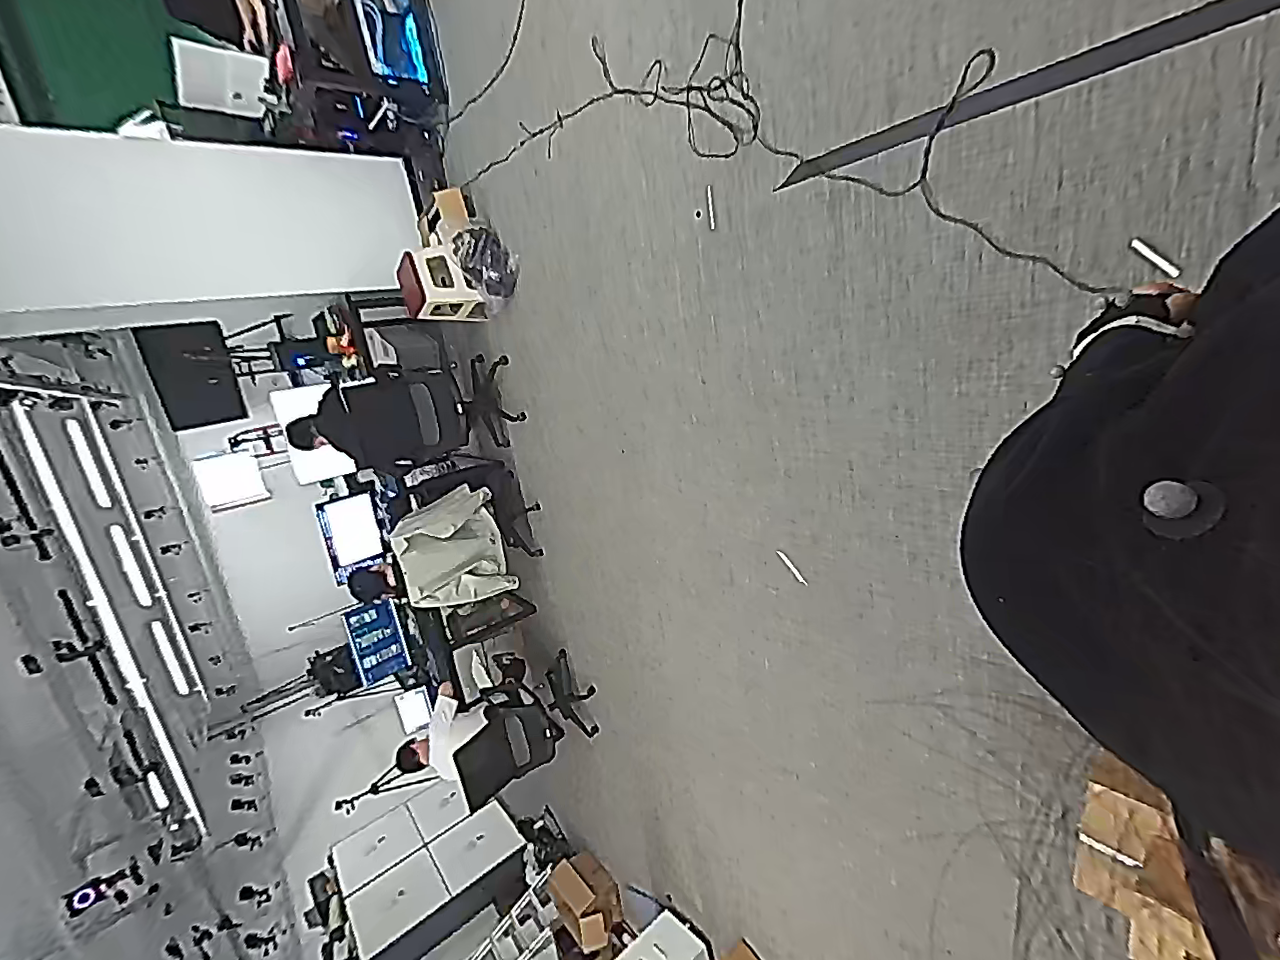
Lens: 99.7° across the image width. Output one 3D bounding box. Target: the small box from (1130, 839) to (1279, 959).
[{"bbox_3d":[1.035,0.811,0.988,0.179,0.176,0.168,8,111,52],"label":"small box"}]
